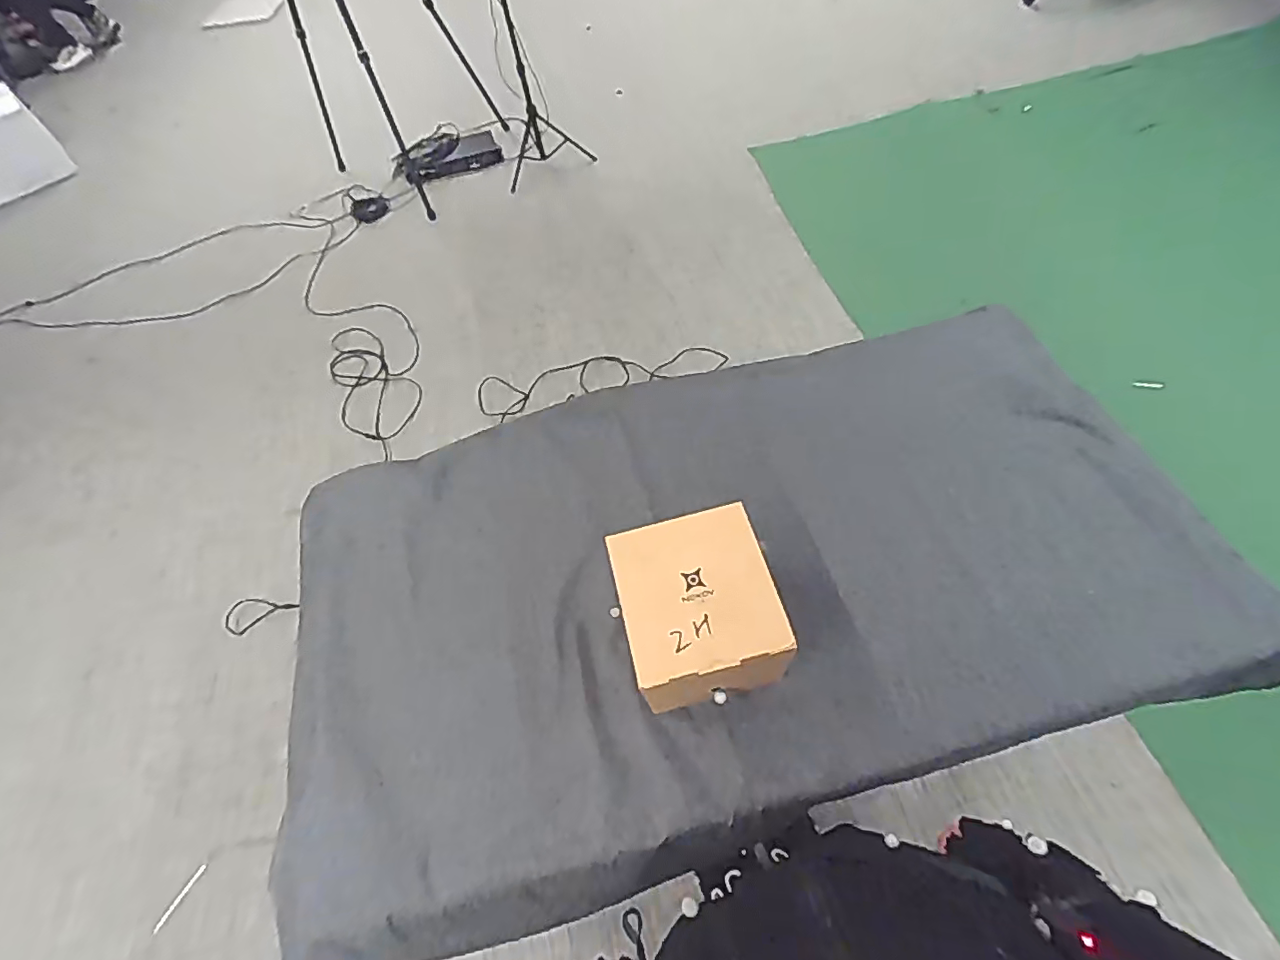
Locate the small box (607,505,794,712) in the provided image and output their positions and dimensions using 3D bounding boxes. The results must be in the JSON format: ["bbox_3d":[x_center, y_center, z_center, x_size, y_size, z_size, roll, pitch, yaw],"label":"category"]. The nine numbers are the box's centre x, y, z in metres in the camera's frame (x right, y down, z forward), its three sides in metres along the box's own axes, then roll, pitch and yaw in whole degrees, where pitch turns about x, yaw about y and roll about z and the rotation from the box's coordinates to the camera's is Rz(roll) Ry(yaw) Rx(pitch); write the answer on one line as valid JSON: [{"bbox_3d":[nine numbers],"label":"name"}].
[{"bbox_3d":[0.066,0.160,0.648,0.168,0.176,0.179,-15,59,-1],"label":"small box"}]
